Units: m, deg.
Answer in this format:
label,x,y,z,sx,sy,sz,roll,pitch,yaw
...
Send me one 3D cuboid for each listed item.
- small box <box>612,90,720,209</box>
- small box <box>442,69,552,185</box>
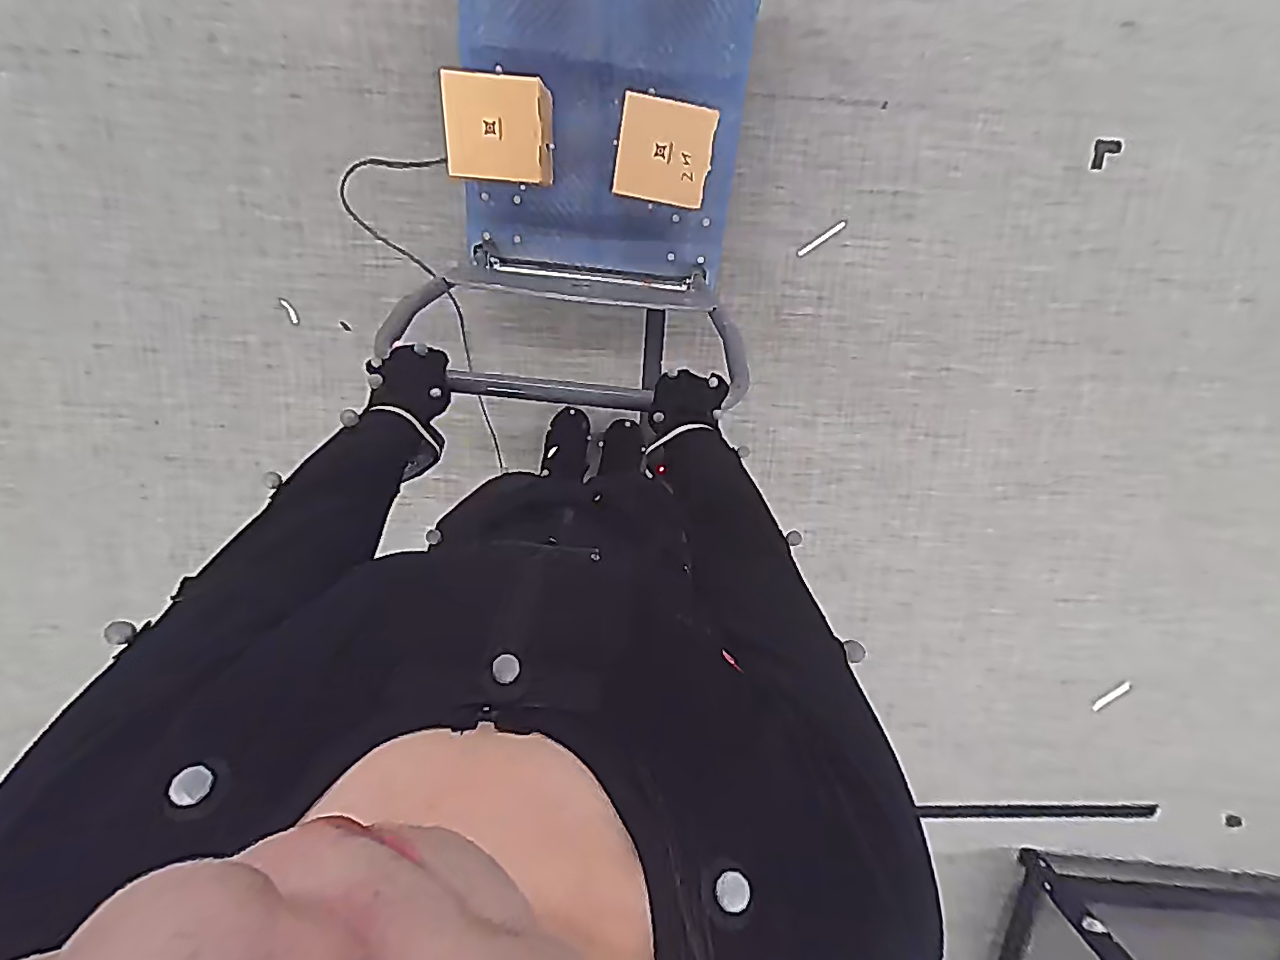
label,x,y,z,sx,sy,sz,roll,pitch,yaw
small box,0.046,-0.645,1.075,0.179,0.176,0.168,9,117,-5
small box,-0.269,-0.677,1.055,0.179,0.176,0.168,2,117,-4
